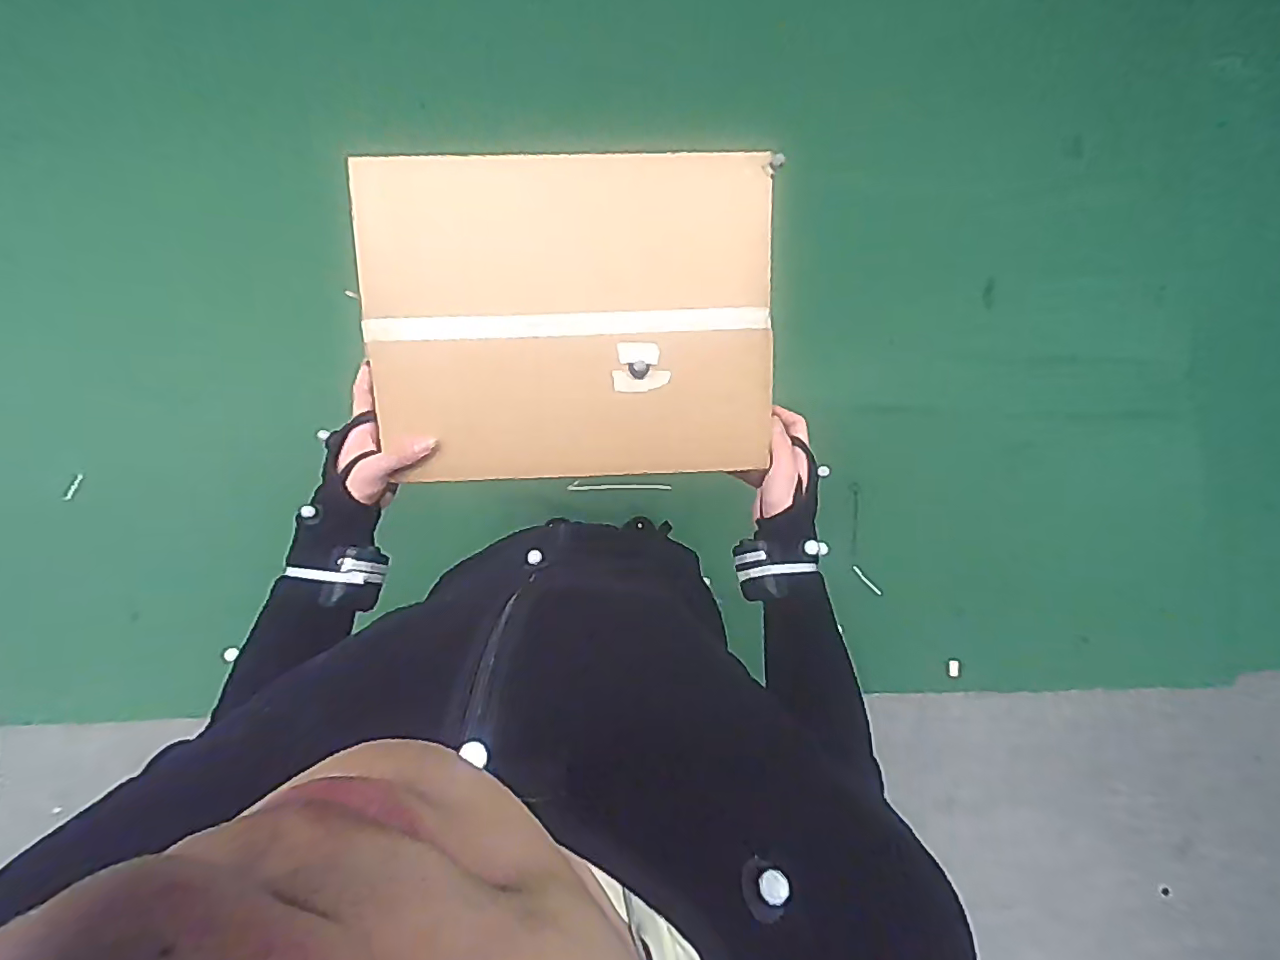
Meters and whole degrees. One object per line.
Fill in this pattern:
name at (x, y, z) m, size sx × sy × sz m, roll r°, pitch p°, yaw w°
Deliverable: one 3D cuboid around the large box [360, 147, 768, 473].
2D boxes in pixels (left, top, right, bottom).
large box at (-0.075, -0.194, 0.696) m, size 0.408 × 0.320 × 0.320 m, roll -2°, pitch 101°, yaw -3°
